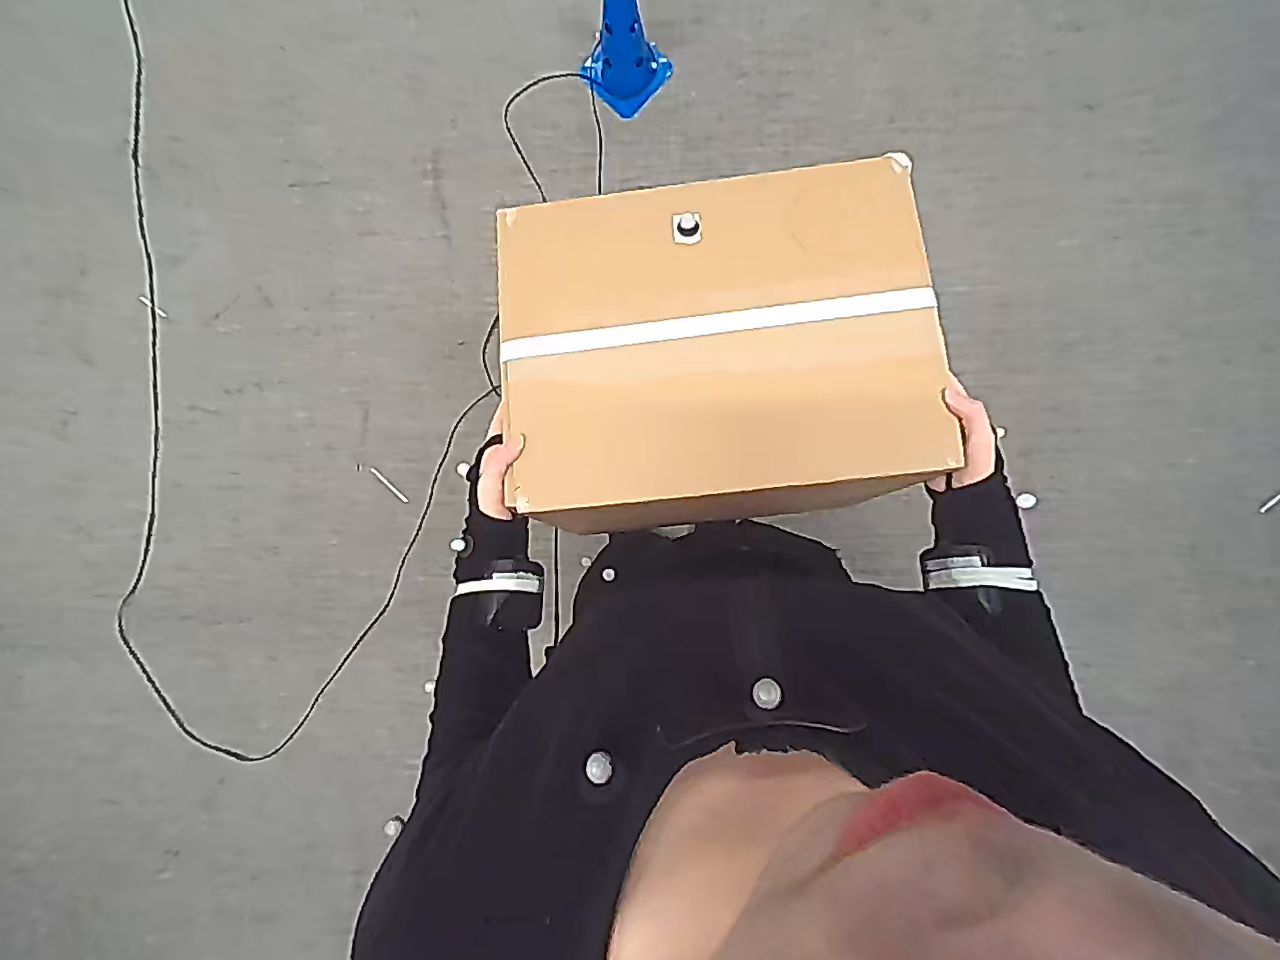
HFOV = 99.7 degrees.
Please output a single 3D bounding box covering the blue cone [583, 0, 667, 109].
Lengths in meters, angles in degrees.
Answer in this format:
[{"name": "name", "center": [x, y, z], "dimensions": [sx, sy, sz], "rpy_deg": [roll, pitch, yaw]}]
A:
[{"name": "blue cone", "center": [-0.047, -1.136, 1.314], "dimensions": [0.192, 0.380, 0.193], "rpy_deg": [40, 92, 0]}]
